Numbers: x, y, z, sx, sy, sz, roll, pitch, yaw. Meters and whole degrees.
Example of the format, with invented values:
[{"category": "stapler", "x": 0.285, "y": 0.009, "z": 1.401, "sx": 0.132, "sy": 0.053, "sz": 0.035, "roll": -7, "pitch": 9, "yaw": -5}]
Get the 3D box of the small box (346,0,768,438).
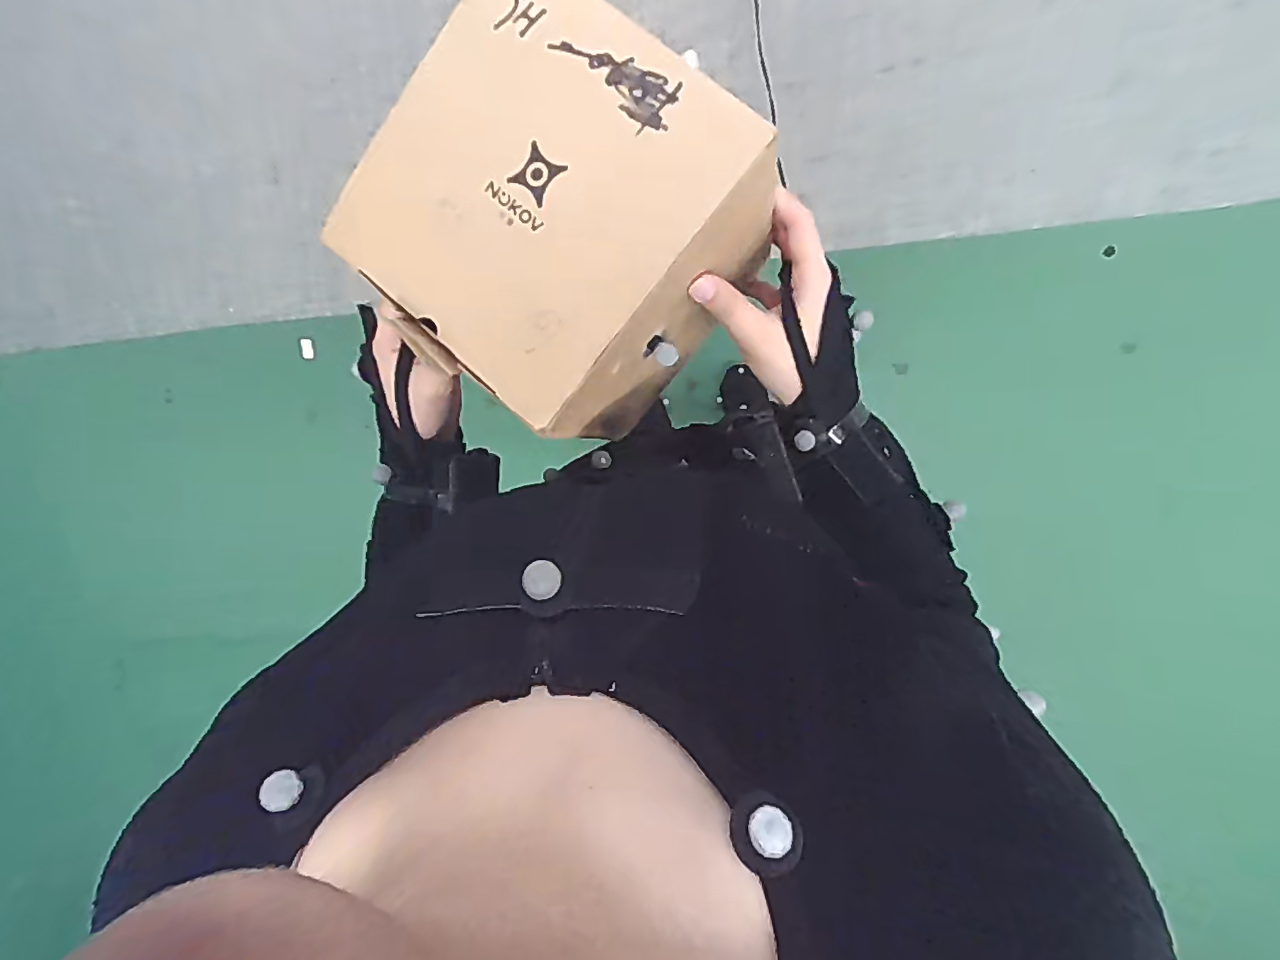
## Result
[{"category": "small box", "x": -0.033, "y": -0.142, "z": 0.350, "sx": 0.168, "sy": 0.176, "sz": 0.179, "roll": 41, "pitch": 101, "yaw": 7}]
